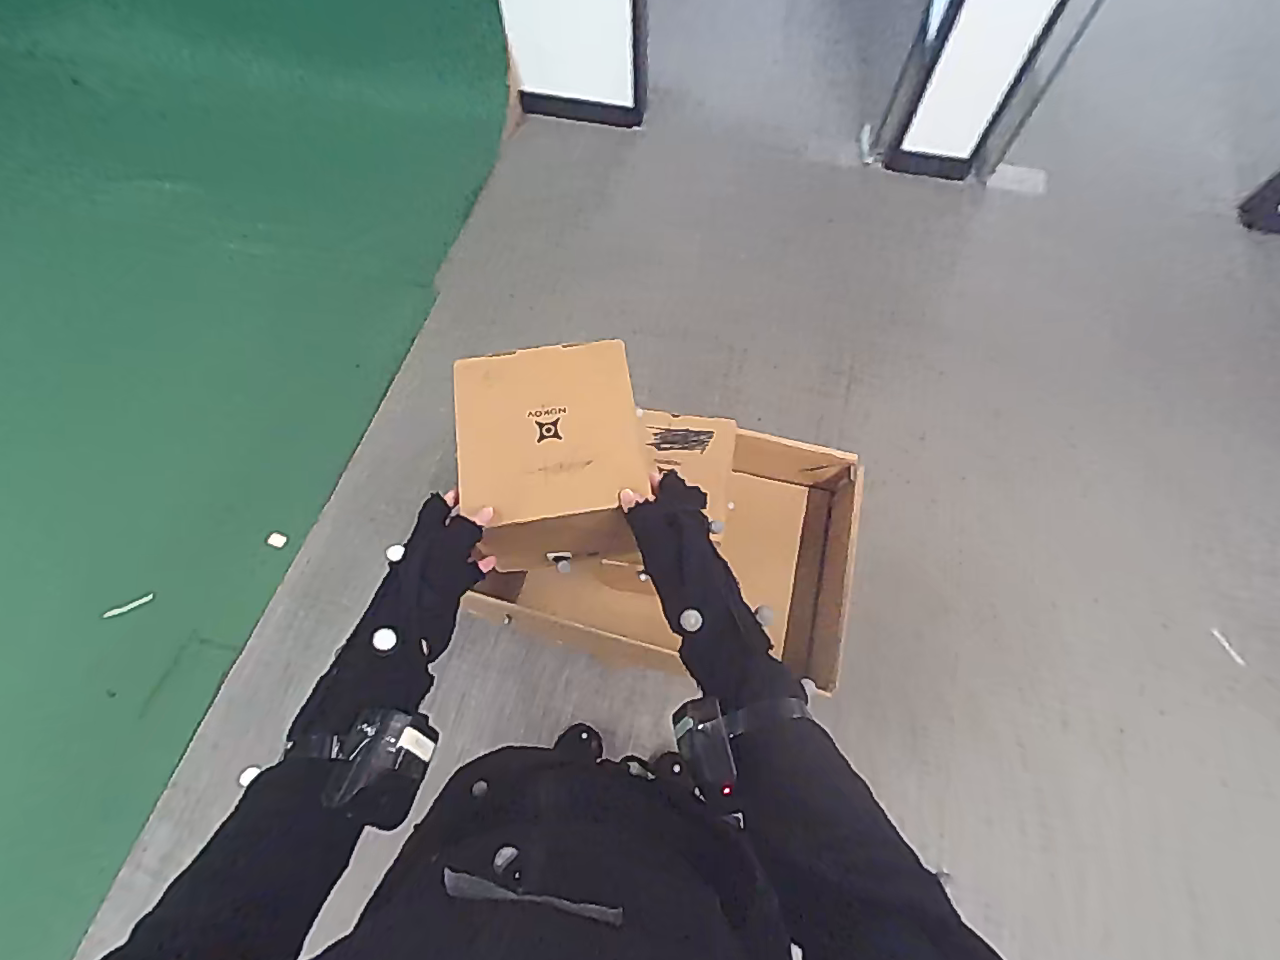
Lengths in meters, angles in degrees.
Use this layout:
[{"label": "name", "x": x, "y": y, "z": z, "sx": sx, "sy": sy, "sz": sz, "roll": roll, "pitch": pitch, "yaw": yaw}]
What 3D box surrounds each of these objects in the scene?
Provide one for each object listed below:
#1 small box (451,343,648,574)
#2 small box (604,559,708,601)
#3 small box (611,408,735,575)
[{"label": "small box", "x": -0.089, "y": -0.014, "z": 0.569, "sx": 0.168, "sy": 0.176, "sz": 0.179, "roll": -10, "pitch": 69, "yaw": -4}, {"label": "small box", "x": 0.036, "y": 0.092, "z": 0.923, "sx": 0.168, "sy": 0.176, "sz": 0.179, "roll": 7, "pitch": 65, "yaw": 6}, {"label": "small box", "x": 0.035, "y": 0.021, "z": 0.775, "sx": 0.168, "sy": 0.176, "sz": 0.179, "roll": 8, "pitch": 67, "yaw": 5}]
